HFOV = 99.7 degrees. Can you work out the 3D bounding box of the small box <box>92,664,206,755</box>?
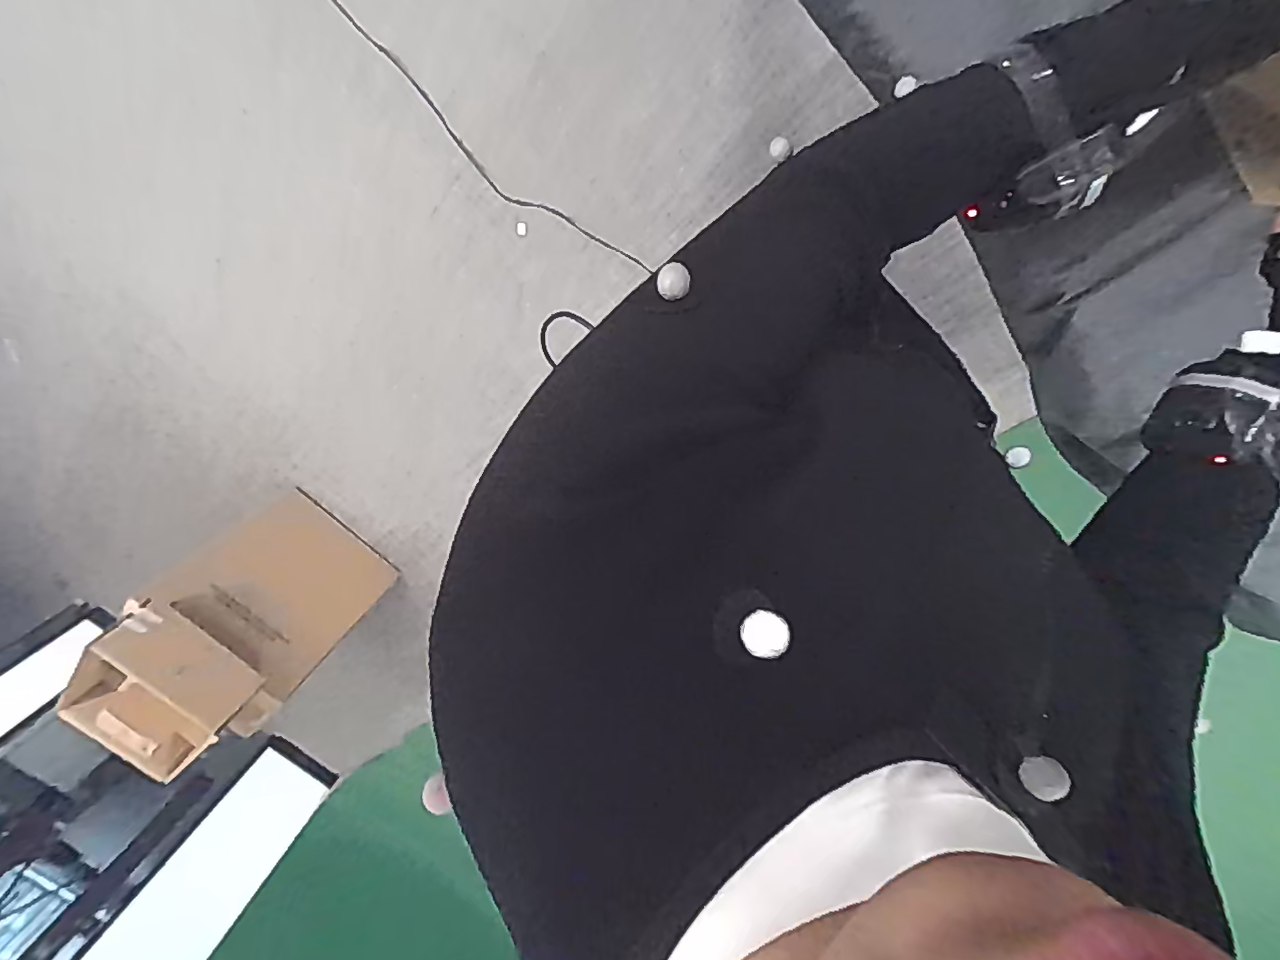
[{"bbox_3d":[-1.451,0.672,1.602,0.179,0.176,0.168,46,124,-11],"label":"small box"}]
